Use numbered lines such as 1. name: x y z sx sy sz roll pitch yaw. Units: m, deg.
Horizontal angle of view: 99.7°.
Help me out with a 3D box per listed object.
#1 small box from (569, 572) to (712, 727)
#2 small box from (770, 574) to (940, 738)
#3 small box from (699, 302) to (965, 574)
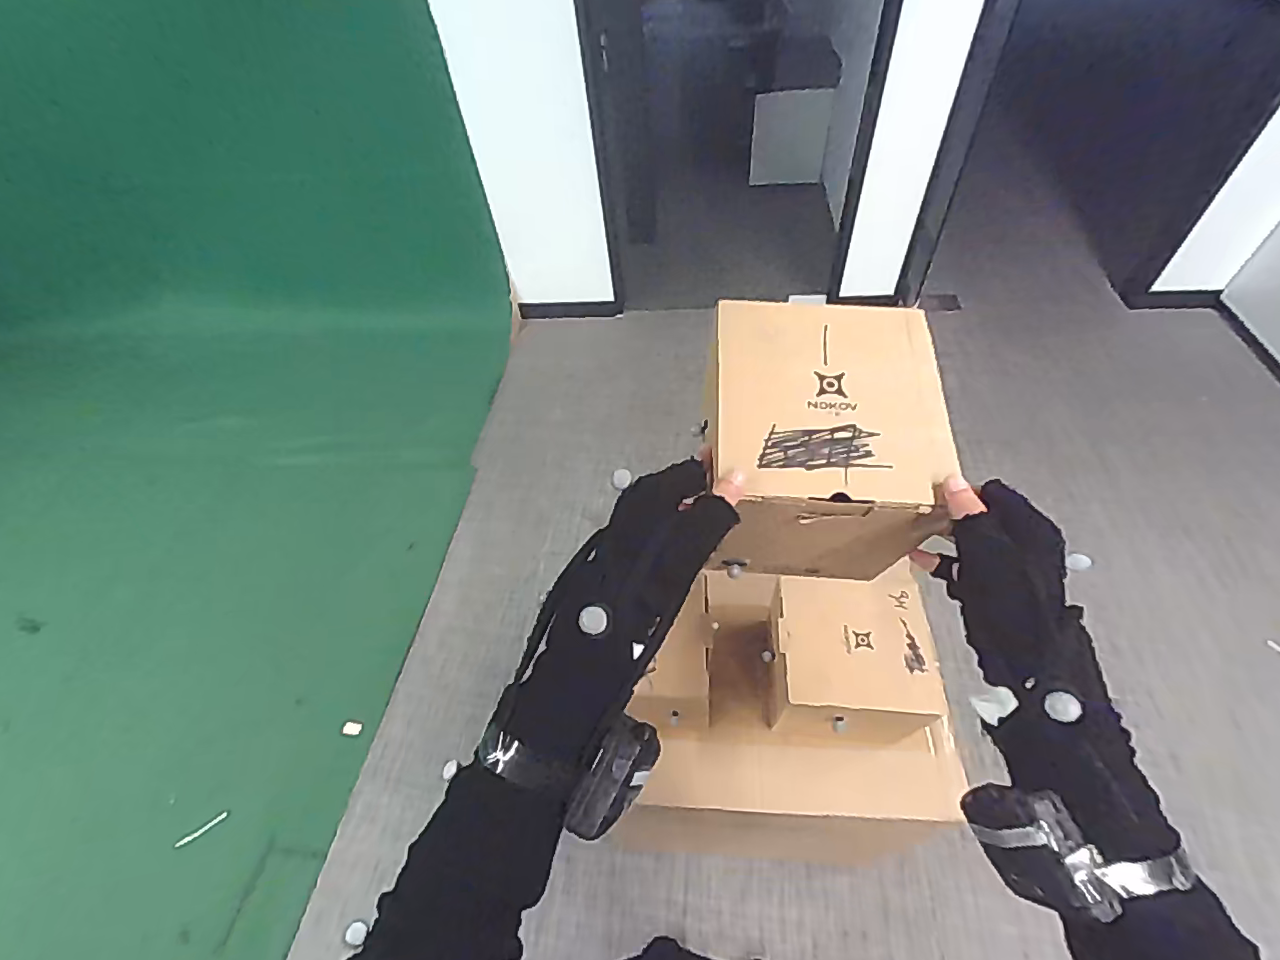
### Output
1. small box: 0.010 0.241 0.762 0.179 0.176 0.168 -1 53 7
2. small box: 0.271 0.241 0.732 0.179 0.176 0.168 1 55 7
3. small box: 0.143 -0.027 0.470 0.168 0.176 0.179 4 63 1
